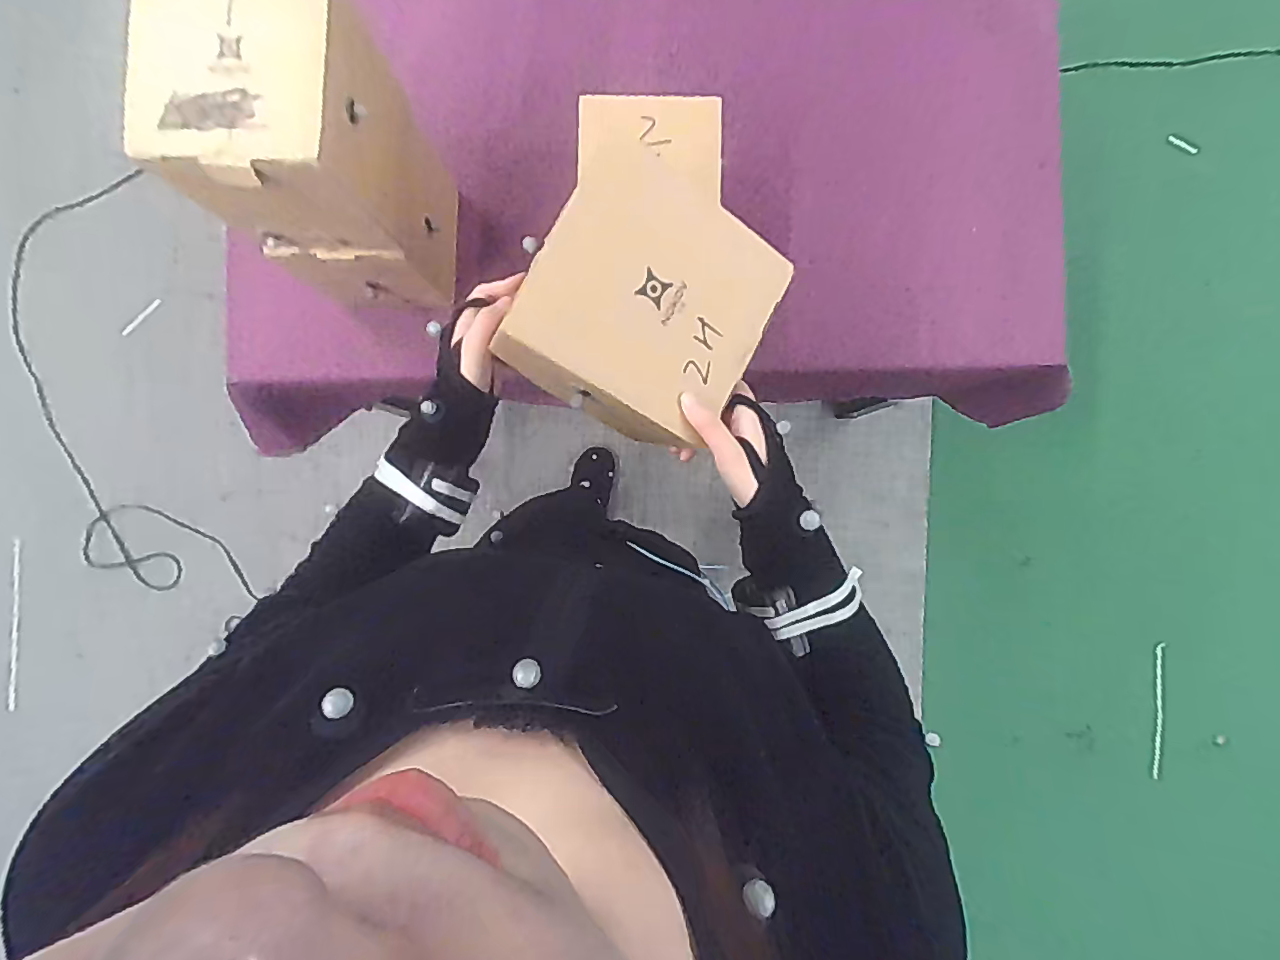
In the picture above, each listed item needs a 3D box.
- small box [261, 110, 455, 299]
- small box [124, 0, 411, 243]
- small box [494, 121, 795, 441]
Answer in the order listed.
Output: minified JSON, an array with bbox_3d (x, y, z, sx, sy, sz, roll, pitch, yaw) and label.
[{"bbox_3d":[-0.346,-0.345,0.692,0.168,0.176,0.179,2,90,-2],"label":"small box"},{"bbox_3d":[-0.339,-0.353,0.527,0.168,0.176,0.179,3,89,-1],"label":"small box"},{"bbox_3d":[-0.011,-0.149,0.471,0.179,0.176,0.168,31,87,-21],"label":"small box"}]
